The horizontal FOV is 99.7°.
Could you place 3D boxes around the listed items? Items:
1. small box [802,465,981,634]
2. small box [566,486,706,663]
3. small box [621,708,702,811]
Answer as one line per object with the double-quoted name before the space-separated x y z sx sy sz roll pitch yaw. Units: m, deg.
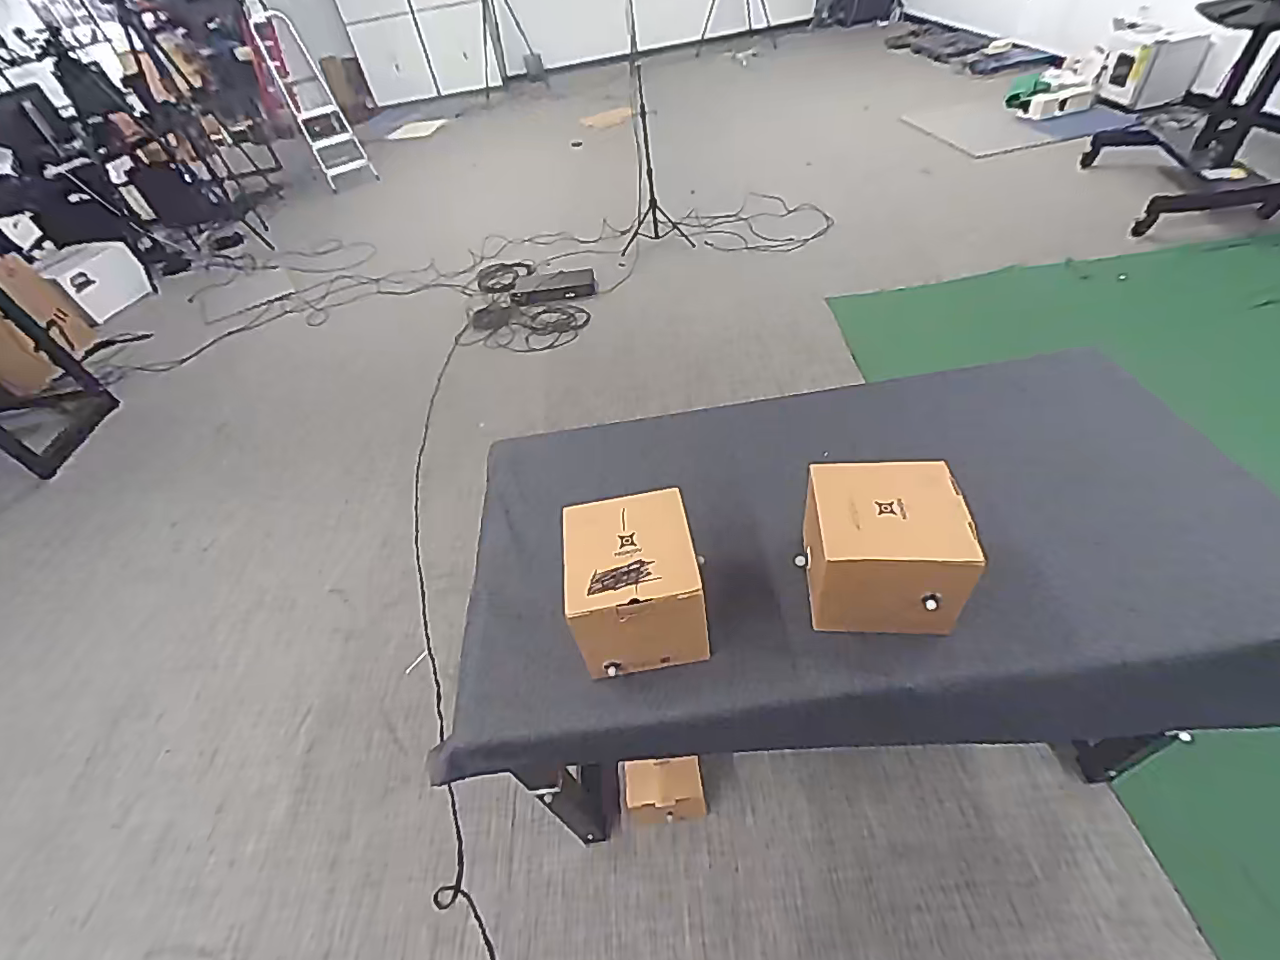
"small box" 0.323 0.096 0.738 0.179 0.176 0.168 -1 45 10
"small box" -0.004 0.137 0.752 0.168 0.176 0.179 -9 44 1
"small box" 0.051 0.658 1.265 0.168 0.176 0.179 -8 47 2
